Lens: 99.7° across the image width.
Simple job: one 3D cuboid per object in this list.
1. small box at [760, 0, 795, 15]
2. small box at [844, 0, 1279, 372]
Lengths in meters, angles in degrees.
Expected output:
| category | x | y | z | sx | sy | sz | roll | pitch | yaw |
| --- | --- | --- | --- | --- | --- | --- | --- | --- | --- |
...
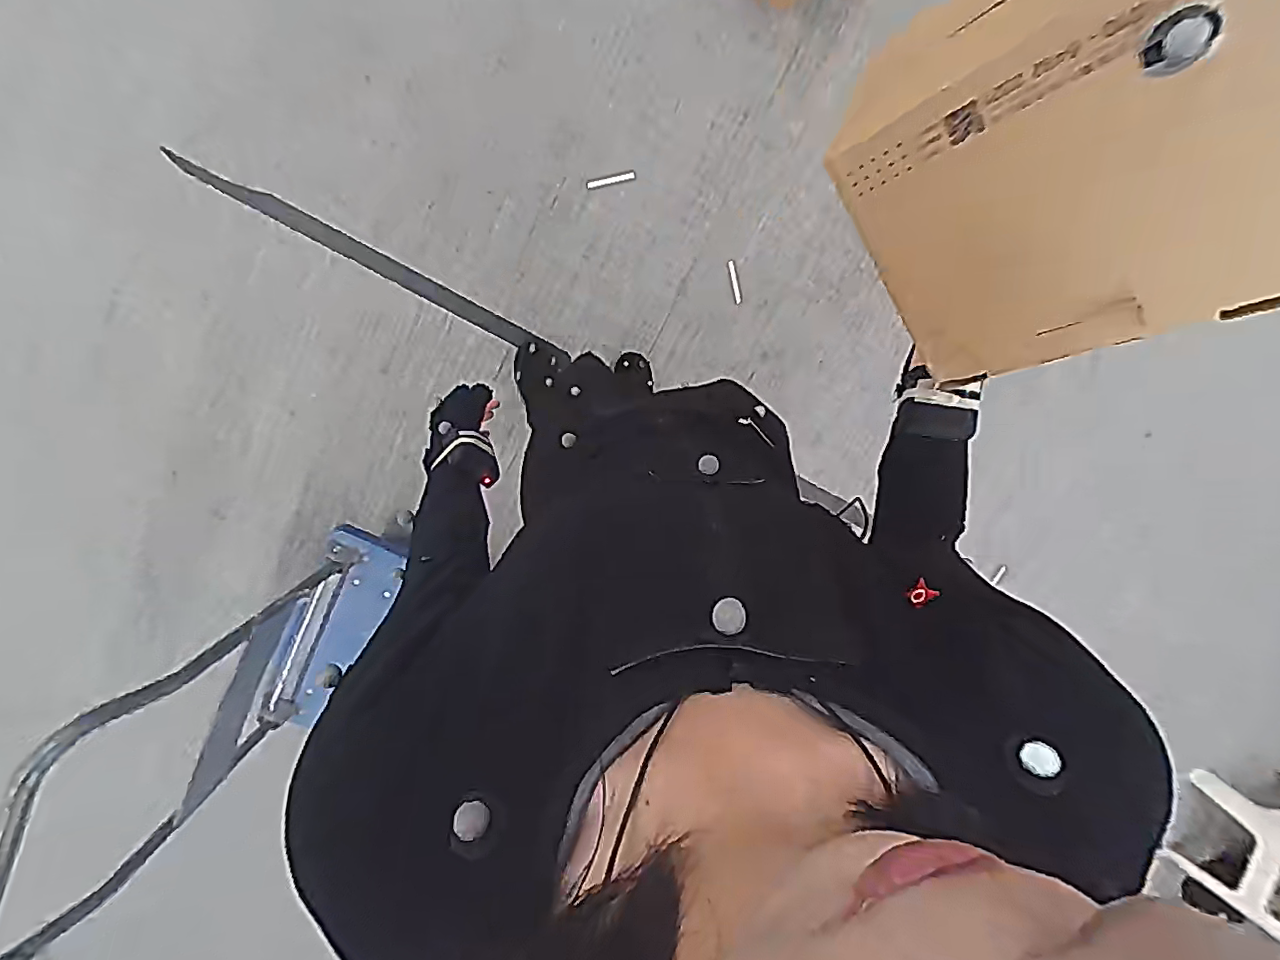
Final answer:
| category | x | y | z | sx | sy | sz | roll | pitch | yaw |
| --- | --- | --- | --- | --- | --- | --- | --- | --- | --- |
| small box | 0.321 | -1.181 | 1.169 | 0.168 | 0.176 | 0.179 | 29 | 100 | -11 |
| small box | 0.237 | -0.199 | 0.311 | 0.168 | 0.179 | 0.176 | -11 | 131 | 43 |
